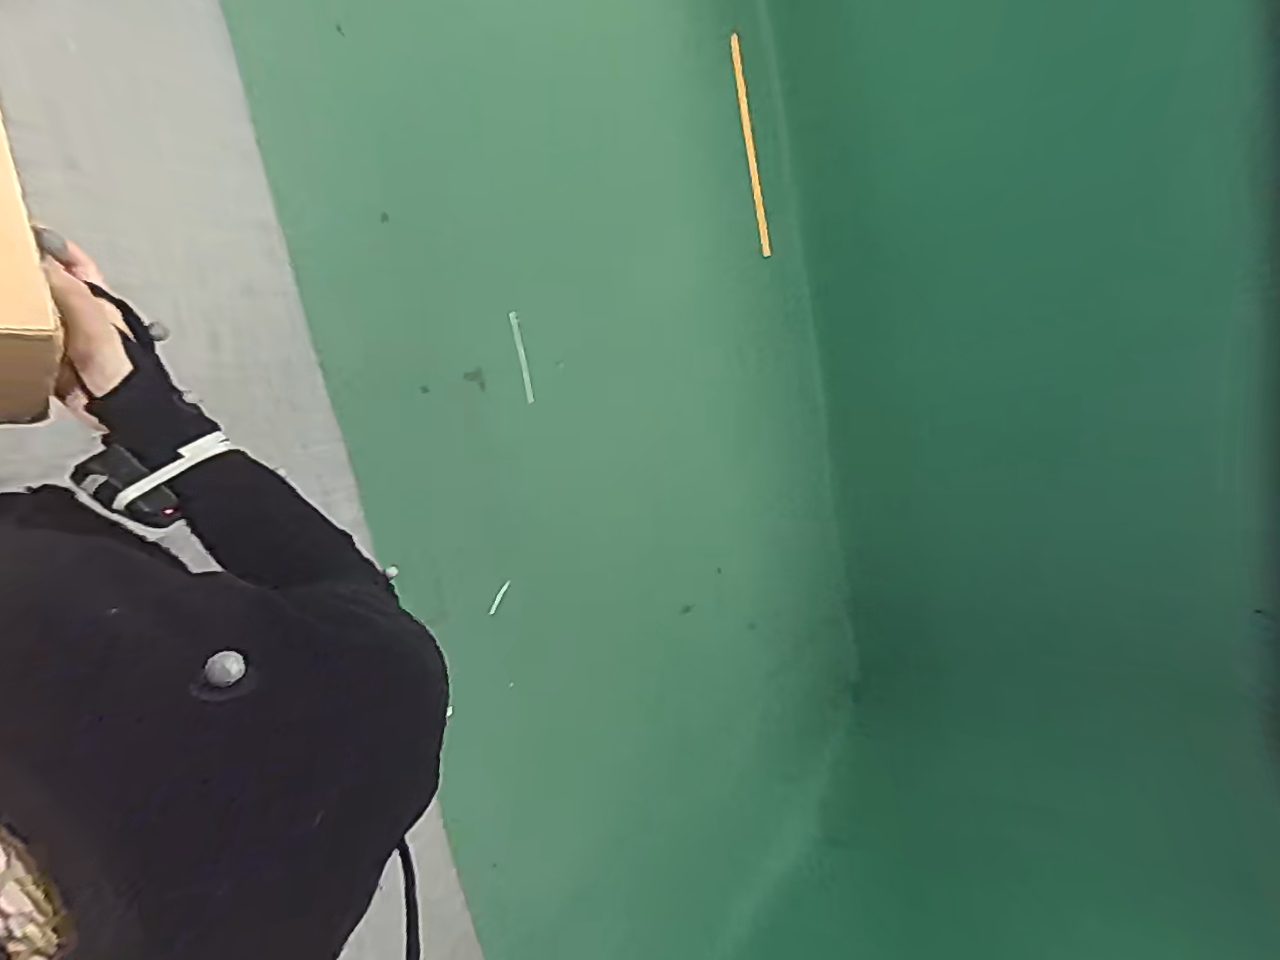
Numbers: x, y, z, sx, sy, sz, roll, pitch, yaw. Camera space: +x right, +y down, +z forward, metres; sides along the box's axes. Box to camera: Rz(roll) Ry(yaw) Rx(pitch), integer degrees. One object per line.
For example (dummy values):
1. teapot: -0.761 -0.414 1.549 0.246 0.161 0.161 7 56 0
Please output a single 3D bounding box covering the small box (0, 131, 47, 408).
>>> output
1. small box: -0.472 -0.141 0.295 0.168 0.176 0.179 -15 90 -53
